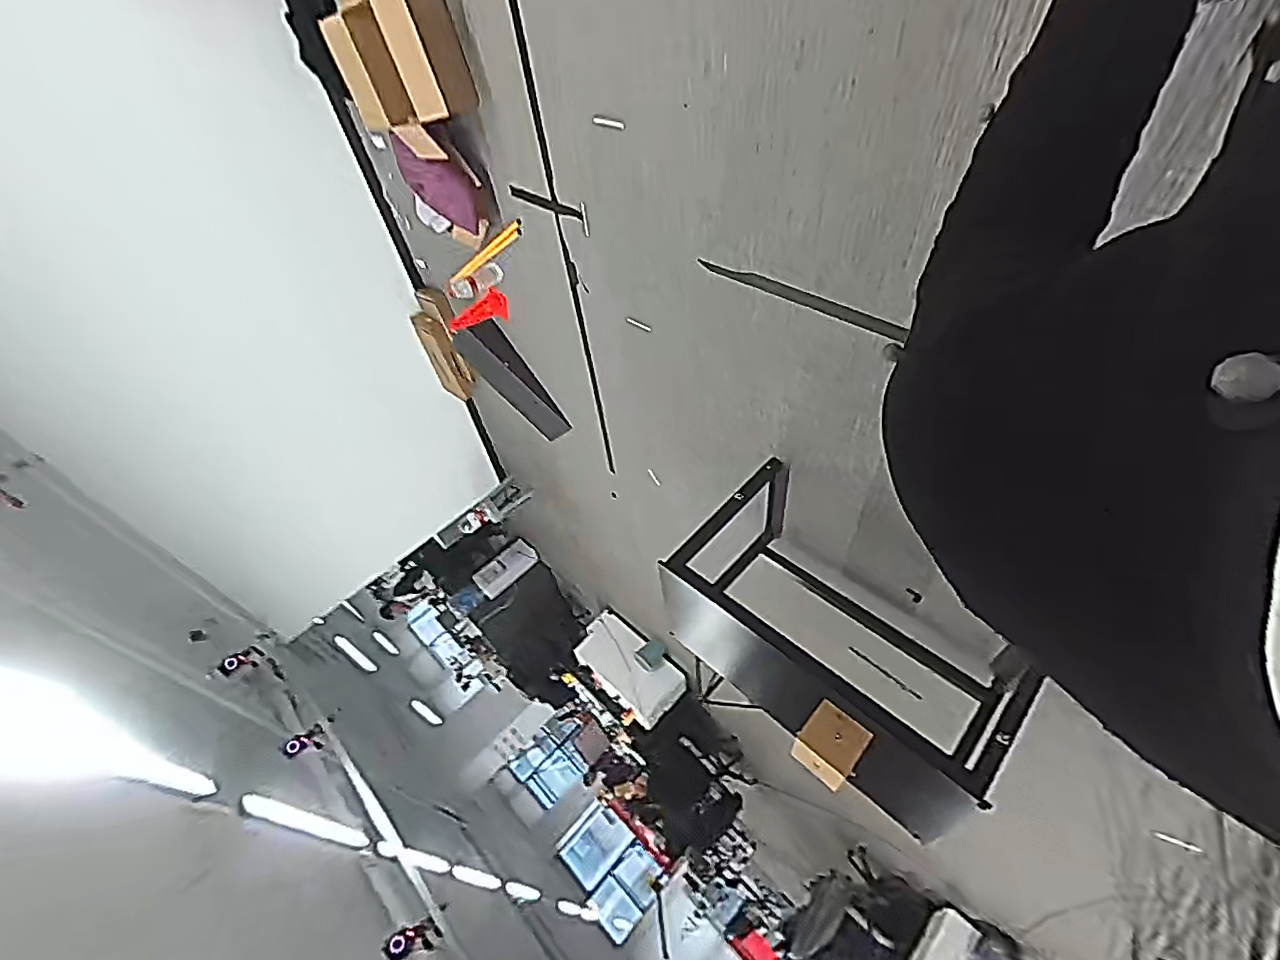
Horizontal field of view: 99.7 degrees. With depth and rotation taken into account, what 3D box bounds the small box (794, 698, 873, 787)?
[{"bbox_3d":[0.618,0.833,1.725,0.168,0.176,0.179,34,151,32],"label":"small box"}]
